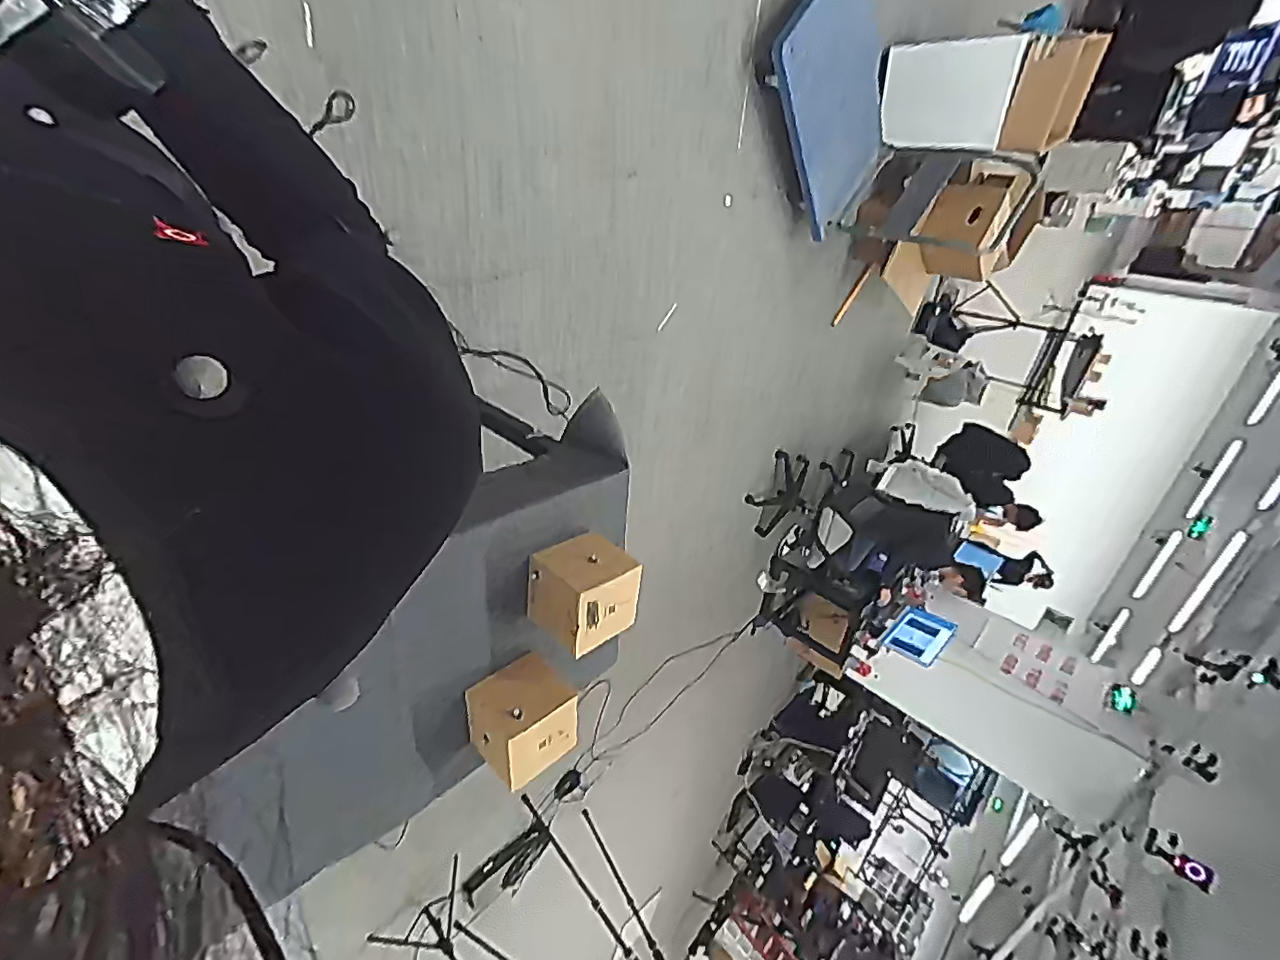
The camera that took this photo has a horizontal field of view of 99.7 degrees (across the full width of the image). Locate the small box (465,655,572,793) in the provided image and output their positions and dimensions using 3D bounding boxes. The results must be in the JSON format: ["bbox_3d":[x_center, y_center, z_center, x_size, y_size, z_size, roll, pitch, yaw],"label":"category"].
[{"bbox_3d":[-0.270,0.525,1.186,0.179,0.176,0.168,-22,128,-41],"label":"small box"}]

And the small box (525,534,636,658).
[{"bbox_3d":[-0.134,0.242,1.171,0.179,0.176,0.168,-20,127,-43],"label":"small box"}]
